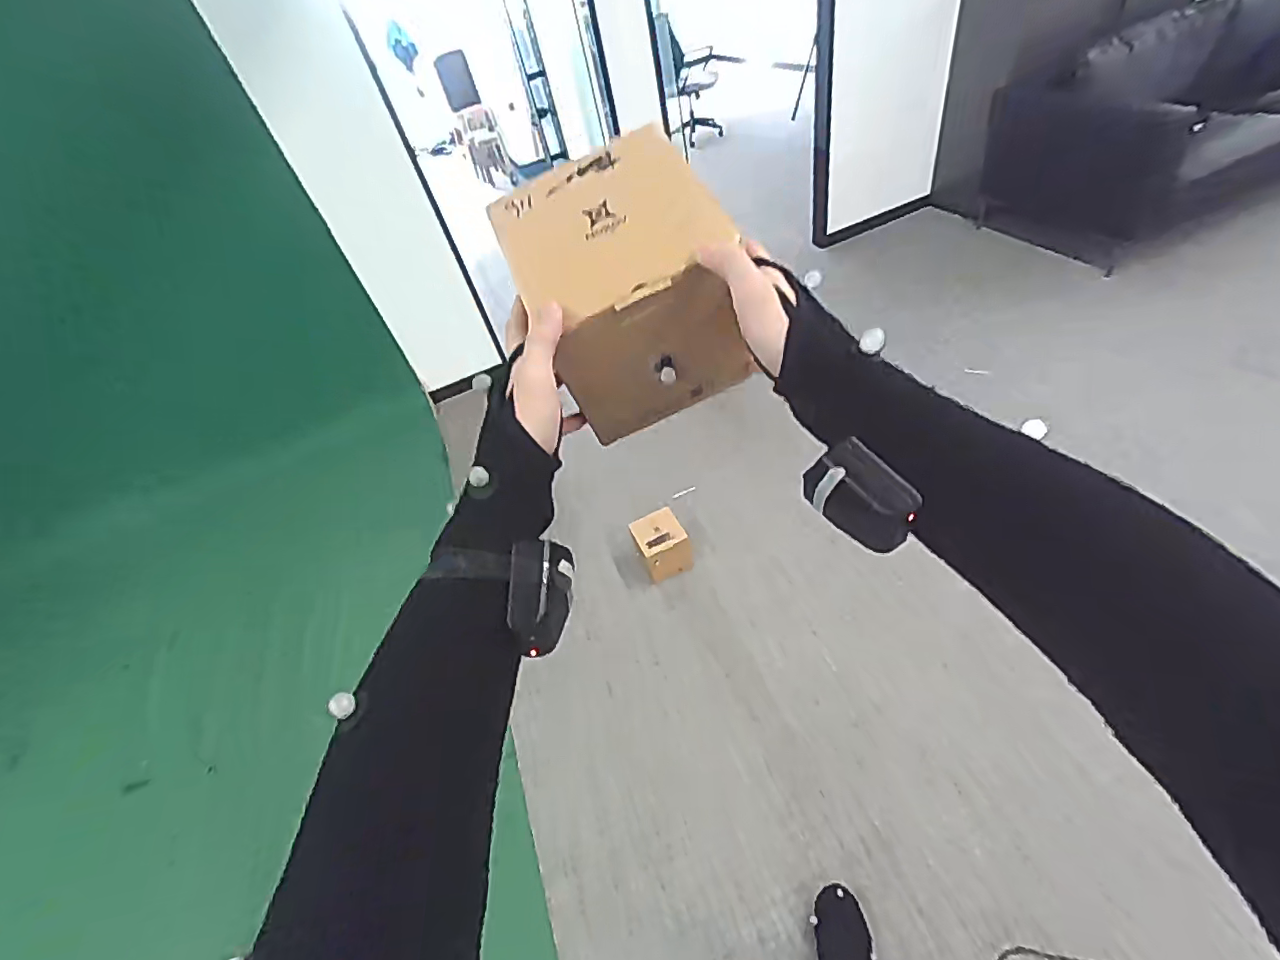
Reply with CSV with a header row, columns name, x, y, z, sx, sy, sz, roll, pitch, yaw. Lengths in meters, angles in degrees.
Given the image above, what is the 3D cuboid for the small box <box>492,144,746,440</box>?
name,x,y,z,sx,sy,sz,roll,pitch,yaw
small box,-0.010,-0.159,0.509,0.168,0.176,0.179,-25,62,2
